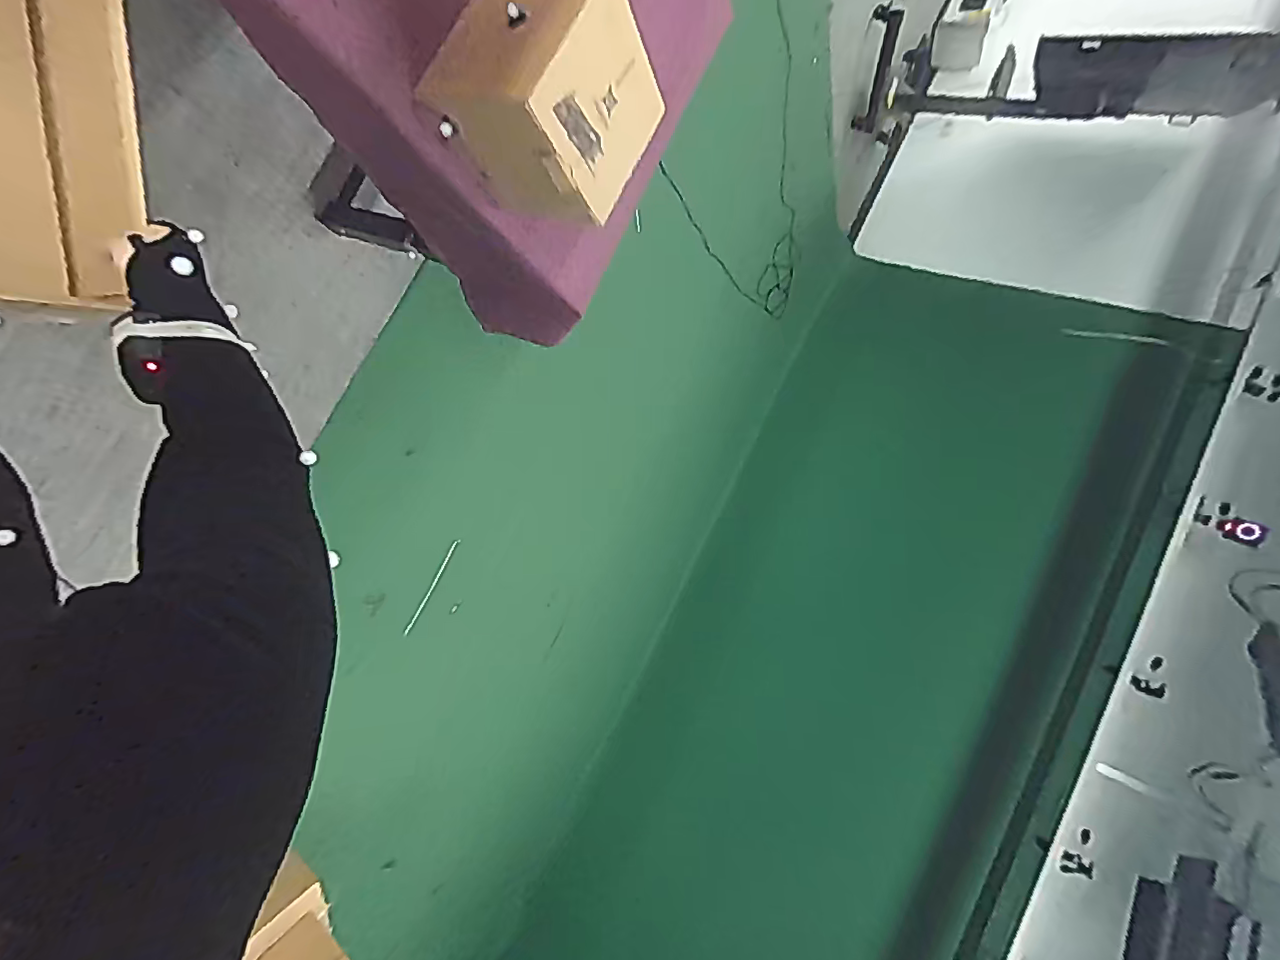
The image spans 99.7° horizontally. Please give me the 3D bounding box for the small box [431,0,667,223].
[{"bbox_3d":[-0.101,-0.427,0.608,0.179,0.176,0.168,-63,154,-6],"label":"small box"}]
